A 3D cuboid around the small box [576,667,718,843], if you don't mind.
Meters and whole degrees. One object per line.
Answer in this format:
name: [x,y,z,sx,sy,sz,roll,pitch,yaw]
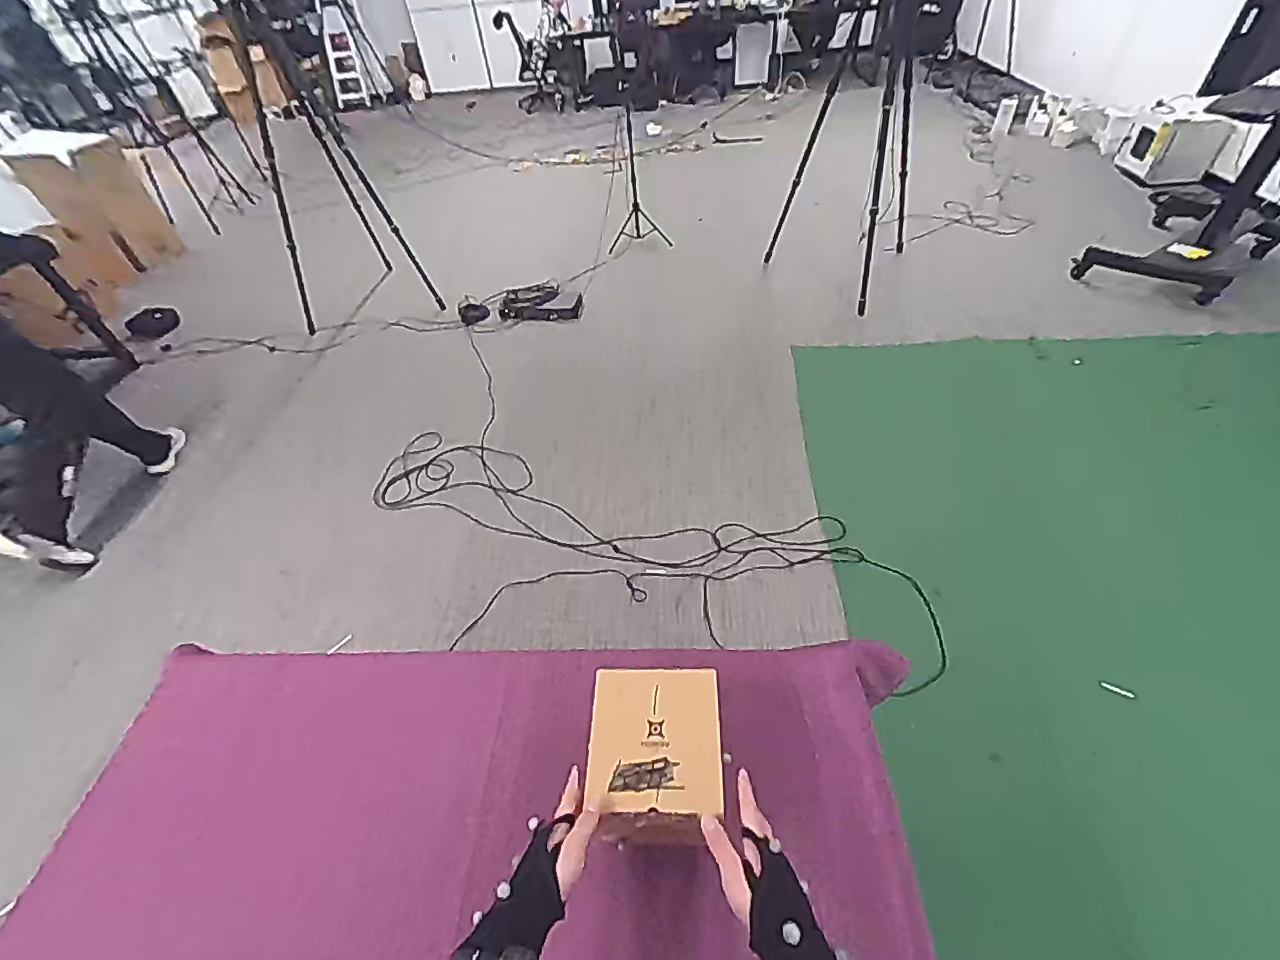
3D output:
small box: [0.019,0.370,0.726,0.168,0.176,0.179,-2,46,6]
